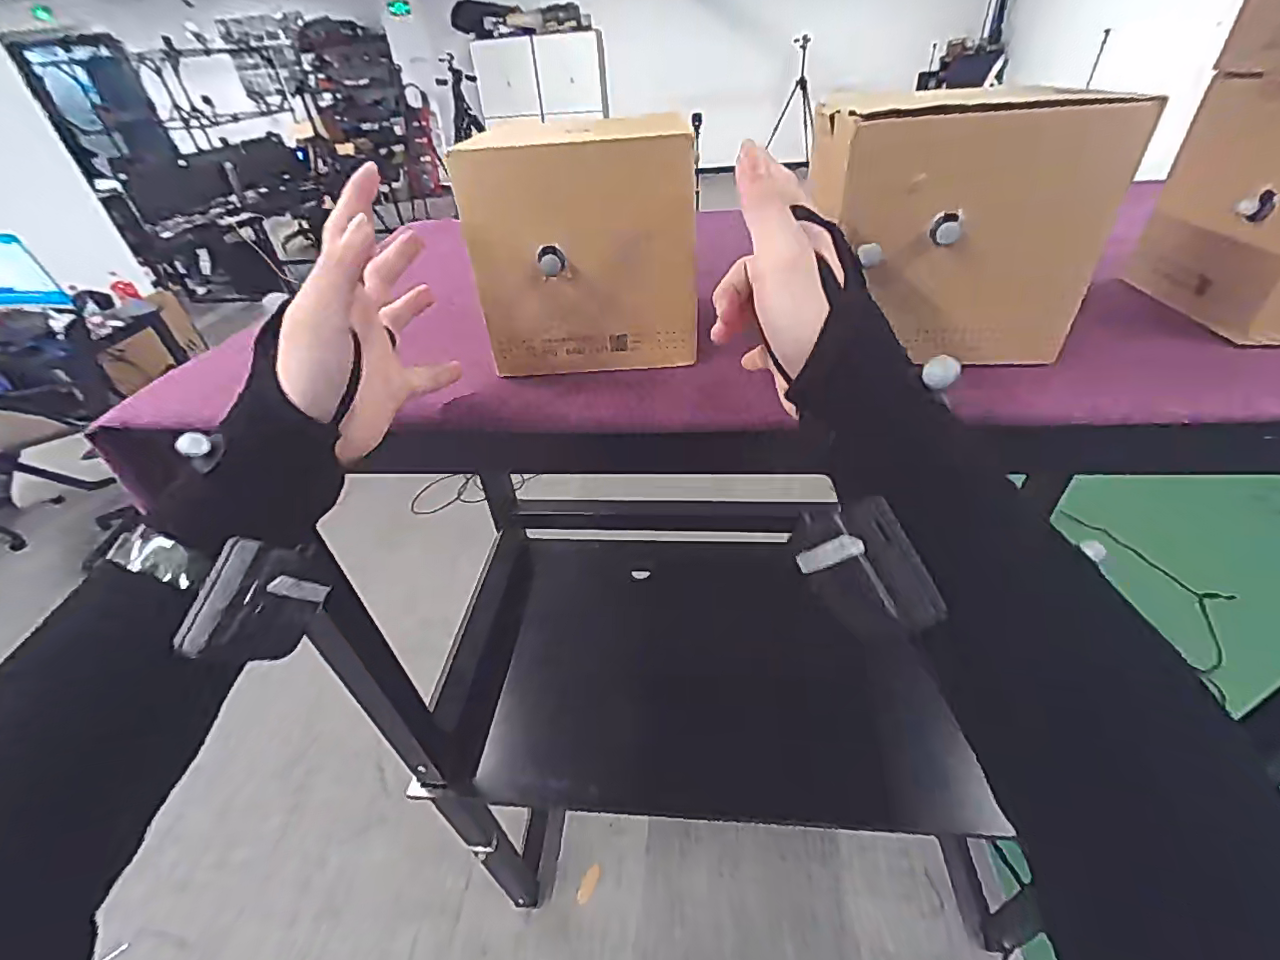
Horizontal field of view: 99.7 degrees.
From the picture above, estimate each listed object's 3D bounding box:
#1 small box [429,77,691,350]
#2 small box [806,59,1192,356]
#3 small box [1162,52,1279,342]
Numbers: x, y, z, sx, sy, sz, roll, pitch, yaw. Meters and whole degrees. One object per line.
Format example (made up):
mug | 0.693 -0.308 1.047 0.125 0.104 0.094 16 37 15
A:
small box | -0.044 -0.215 0.442 0.168 0.176 0.179 -2 38 3
small box | 0.225 -0.204 0.408 0.179 0.176 0.168 3 40 9
small box | 0.534 -0.200 0.382 0.179 0.176 0.168 4 40 10
